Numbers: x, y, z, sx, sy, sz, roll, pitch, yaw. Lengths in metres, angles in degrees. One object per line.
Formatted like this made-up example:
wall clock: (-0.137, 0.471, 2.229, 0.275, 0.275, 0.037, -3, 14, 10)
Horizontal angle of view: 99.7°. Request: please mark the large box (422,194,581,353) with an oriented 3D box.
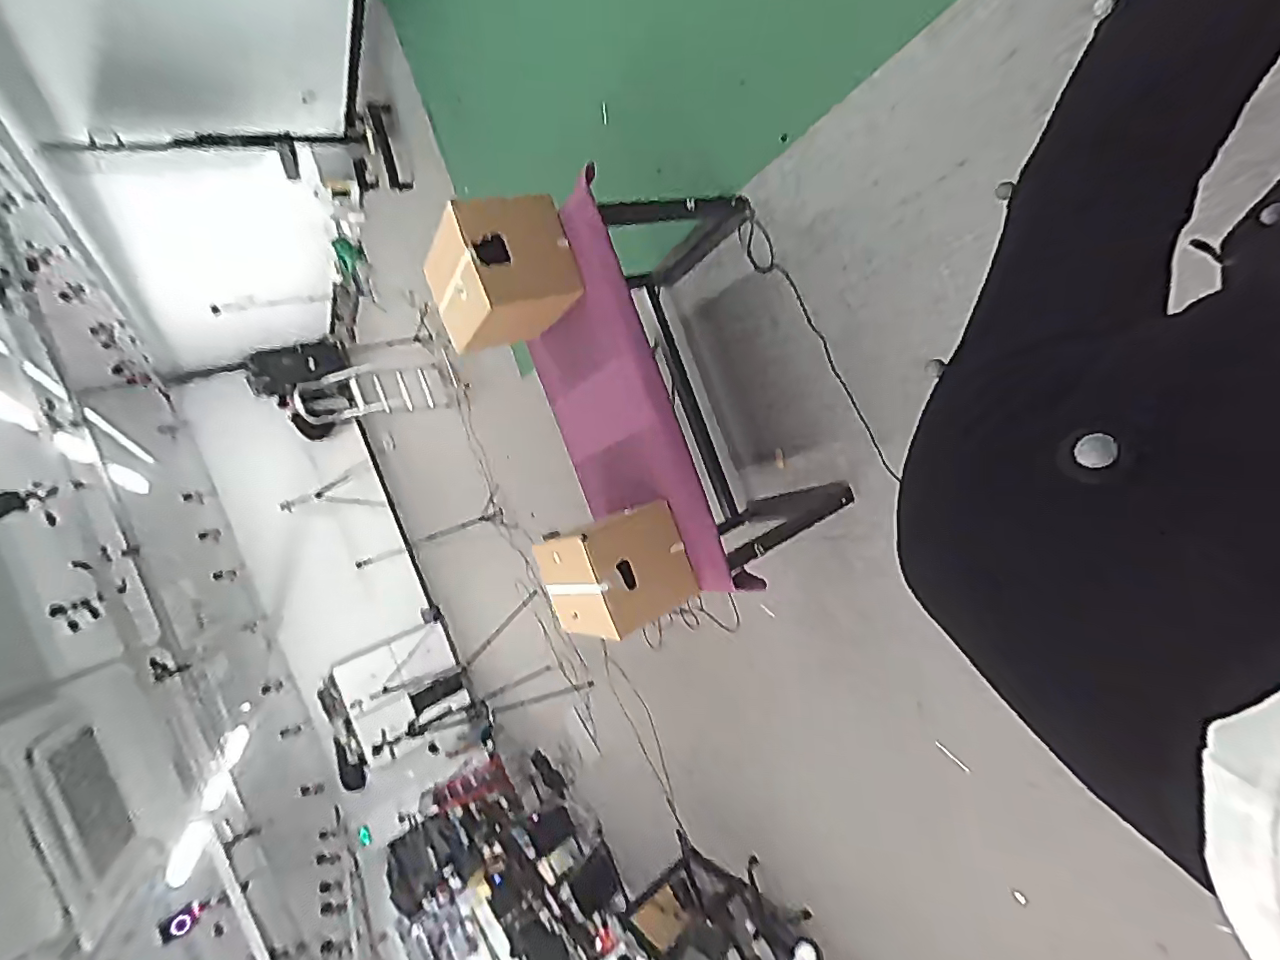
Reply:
large box: (-0.441, -0.633, 1.688, 0.408, 0.320, 0.320, -15, 97, 56)
